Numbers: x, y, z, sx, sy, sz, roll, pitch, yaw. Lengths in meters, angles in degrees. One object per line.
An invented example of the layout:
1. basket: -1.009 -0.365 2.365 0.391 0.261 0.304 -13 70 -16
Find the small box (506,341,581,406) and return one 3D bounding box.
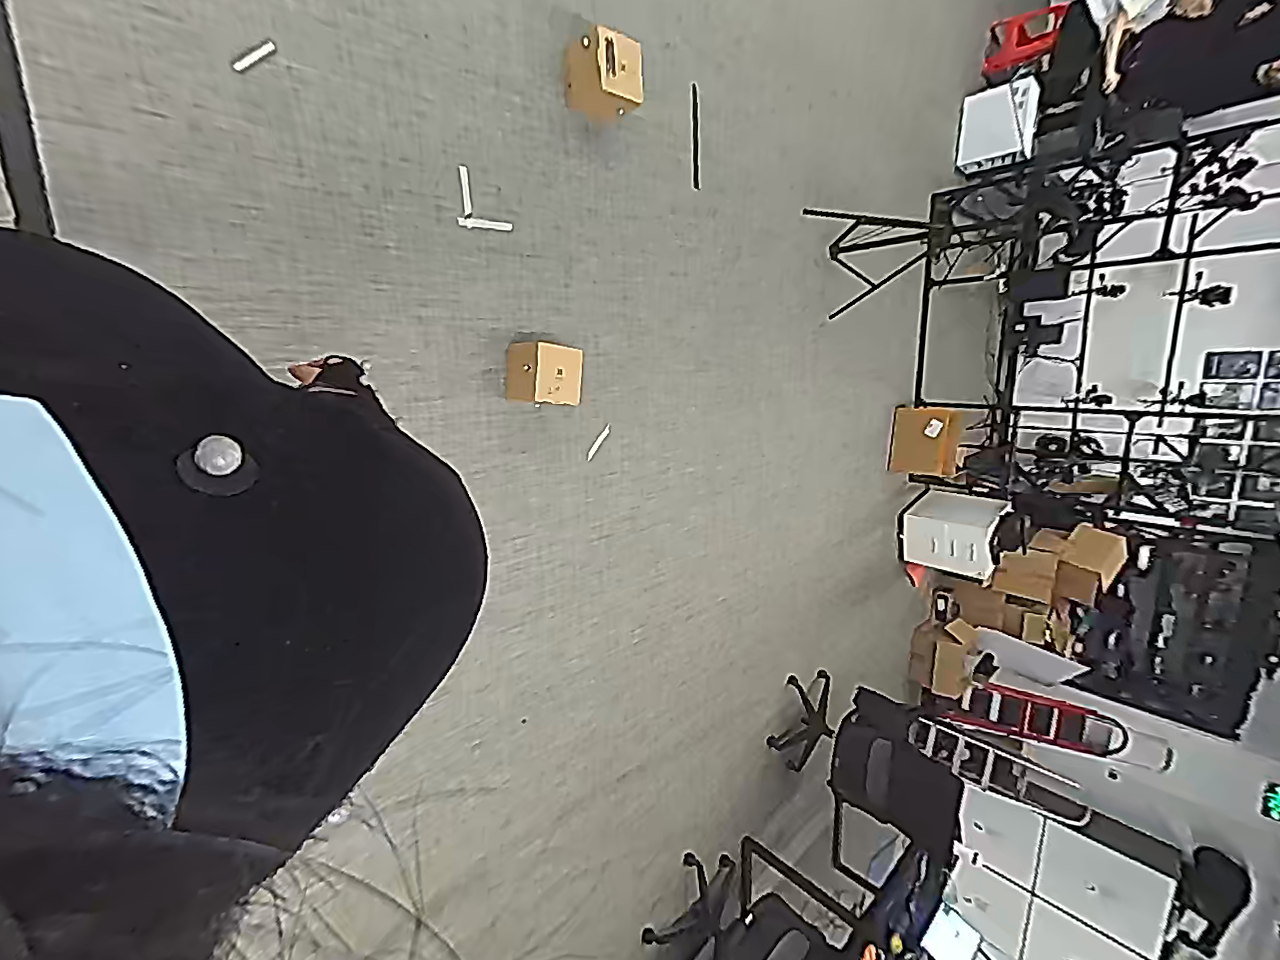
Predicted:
1. small box: -0.304 -0.330 1.684 0.168 0.176 0.179 0 99 -43
